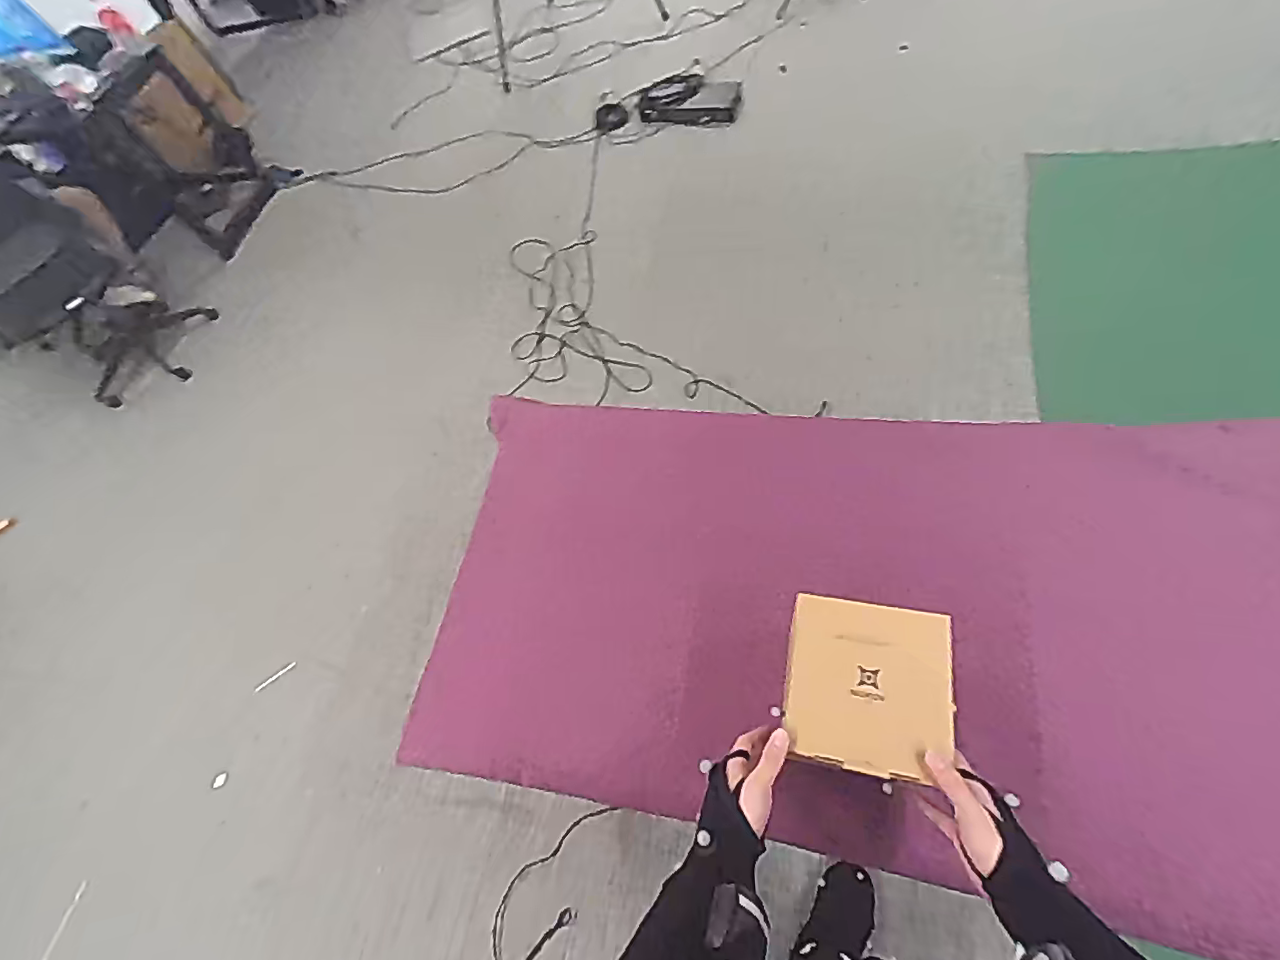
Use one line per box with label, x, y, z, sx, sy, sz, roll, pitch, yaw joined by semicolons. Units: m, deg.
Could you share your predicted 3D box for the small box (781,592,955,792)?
small box;0.263;0.254;0.649;0.168;0.176;0.179;7;64;16
